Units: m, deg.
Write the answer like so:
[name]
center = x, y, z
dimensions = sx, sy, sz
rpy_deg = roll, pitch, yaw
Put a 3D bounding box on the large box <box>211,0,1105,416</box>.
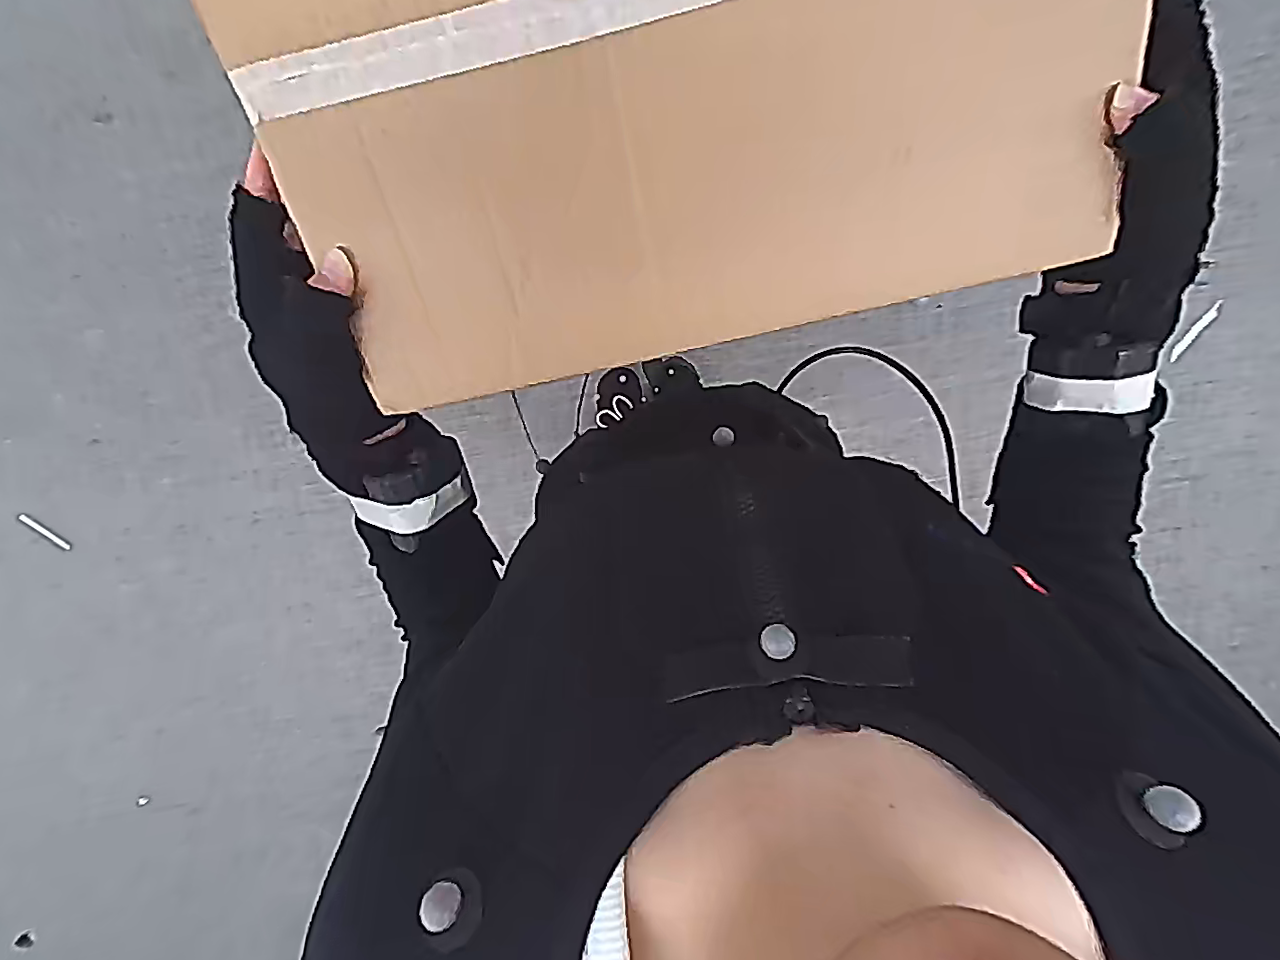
[large box]
center = 0.010, -0.278, 0.378
dimensions = 0.408, 0.320, 0.320
rpy_deg = -12, 114, 4
